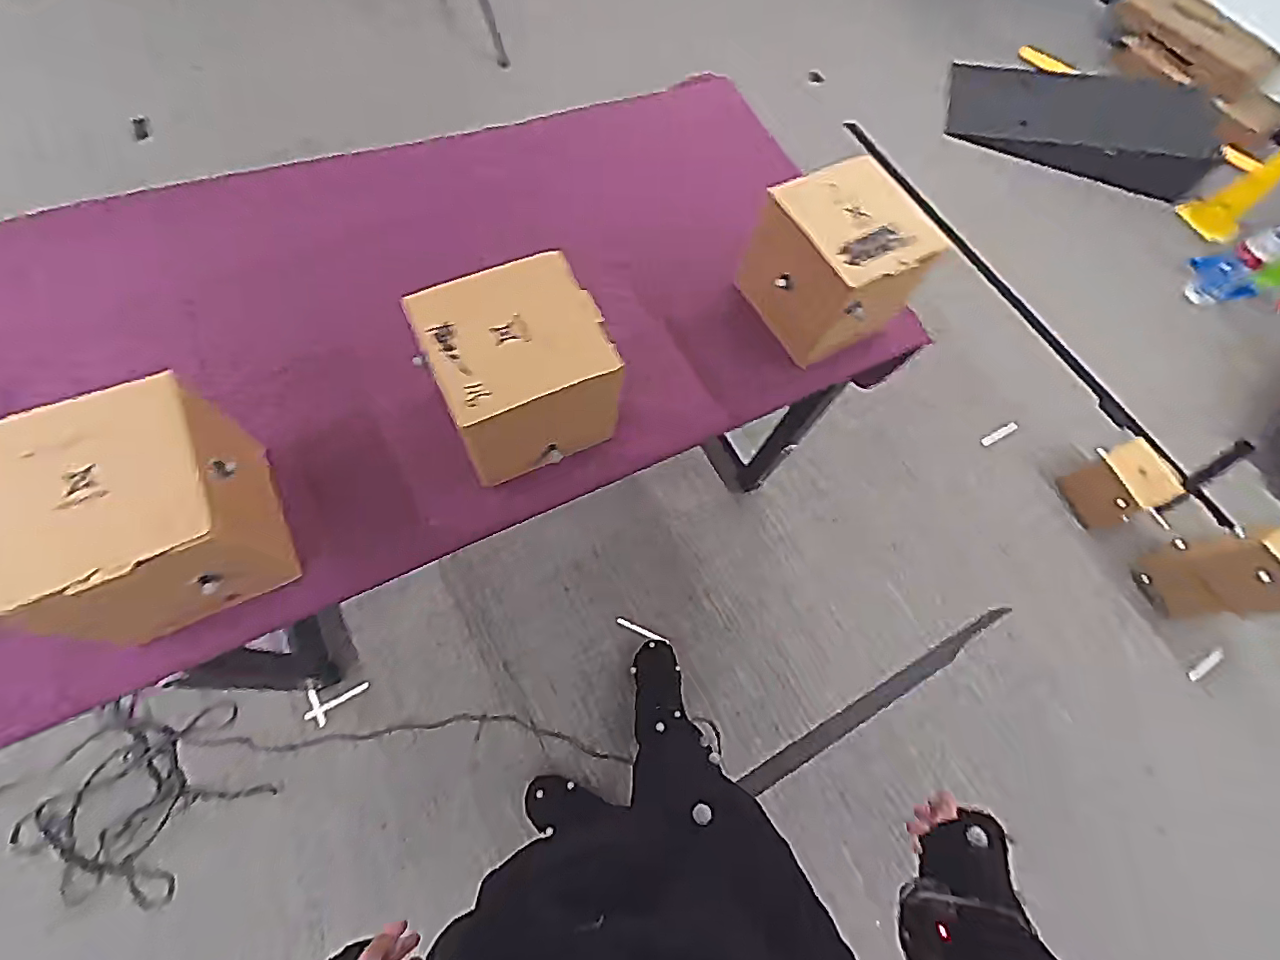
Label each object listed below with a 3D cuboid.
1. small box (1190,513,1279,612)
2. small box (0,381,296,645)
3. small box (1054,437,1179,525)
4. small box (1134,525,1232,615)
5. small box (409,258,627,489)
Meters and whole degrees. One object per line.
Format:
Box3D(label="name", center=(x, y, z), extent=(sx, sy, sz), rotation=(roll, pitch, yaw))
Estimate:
Box3D(label="small box", center=(1.528, 0.202, 1.321), extent=(0.168, 0.176, 0.179), rotation=(-25, 74, -15))
Box3D(label="small box", center=(-0.467, 0.043, 0.517), extent=(0.168, 0.176, 0.179), rotation=(-24, 72, -17))
Box3D(label="small box", center=(1.360, 0.006, 1.558), extent=(0.168, 0.176, 0.179), rotation=(-20, 72, -15))
Box3D(label="small box", center=(1.521, 0.251, 1.479), extent=(0.179, 0.176, 0.168), rotation=(-26, 74, -17))
Box3D(label="small box", center=(-0.135, -0.114, 0.621), extent=(0.179, 0.176, 0.168), rotation=(-24, 73, -16))
